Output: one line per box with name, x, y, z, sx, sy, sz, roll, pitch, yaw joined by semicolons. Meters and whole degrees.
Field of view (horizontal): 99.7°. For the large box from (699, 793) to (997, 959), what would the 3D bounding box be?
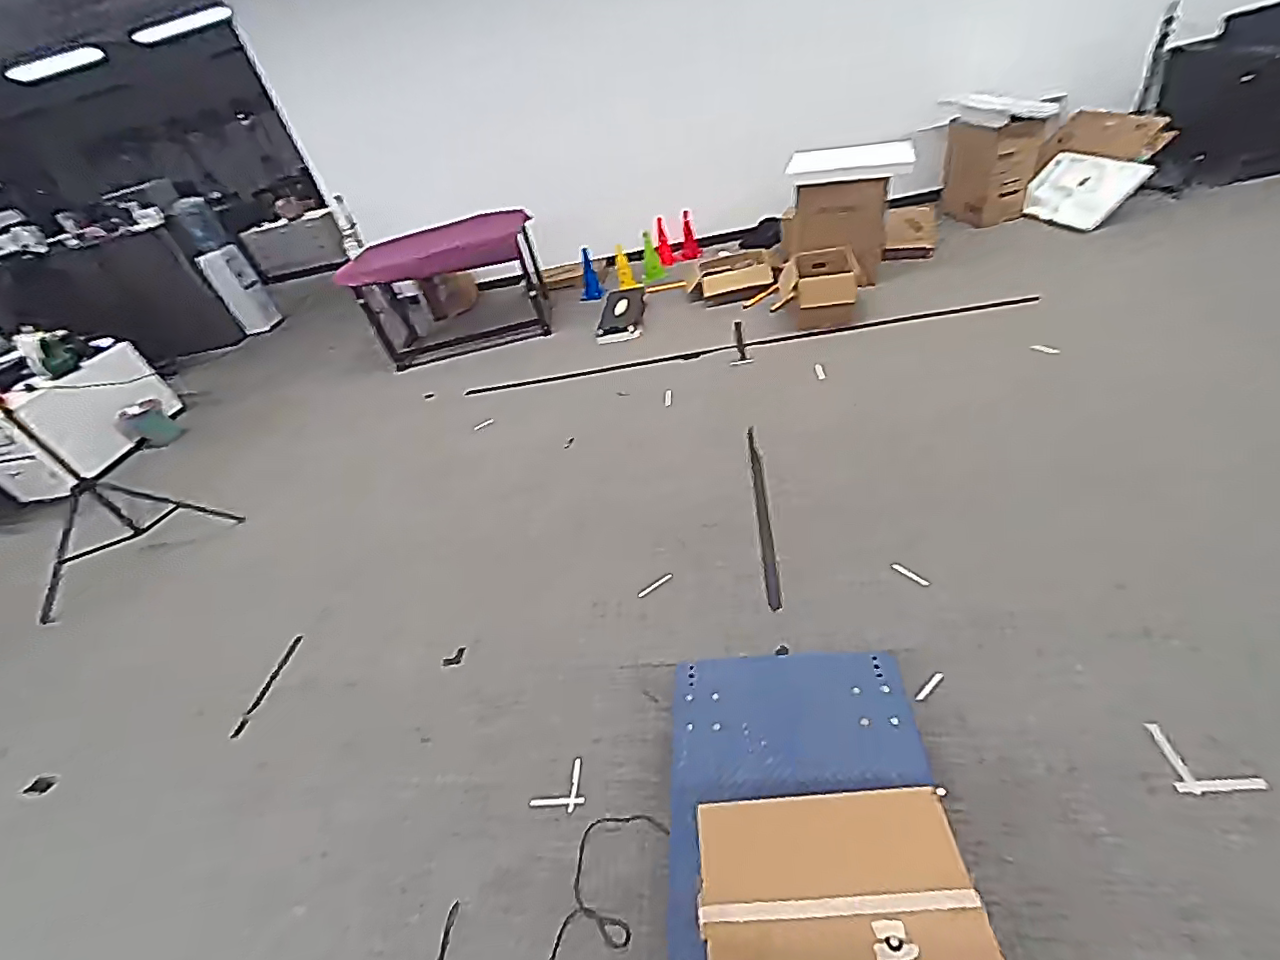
large box;0.326;0.770;0.910;0.408;0.320;0.320;-9;39;6
